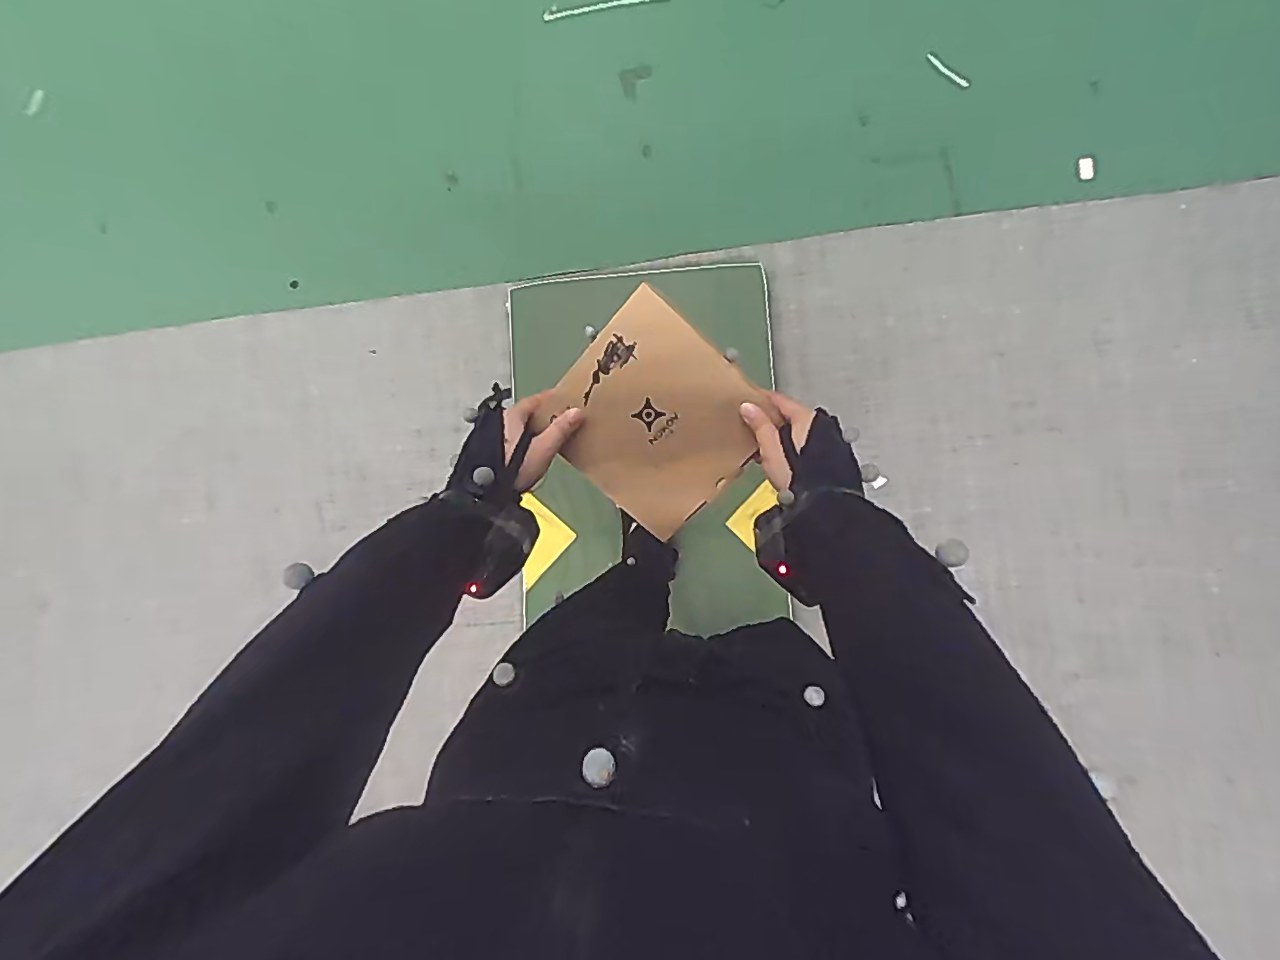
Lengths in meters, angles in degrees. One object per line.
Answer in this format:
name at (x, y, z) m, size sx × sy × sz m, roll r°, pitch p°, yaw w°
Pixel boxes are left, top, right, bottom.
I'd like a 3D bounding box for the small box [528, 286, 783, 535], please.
small box at (0.019, -0.081, 0.565) m, size 0.179 × 0.176 × 0.168 m, roll 42°, pitch 106°, yaw -9°
